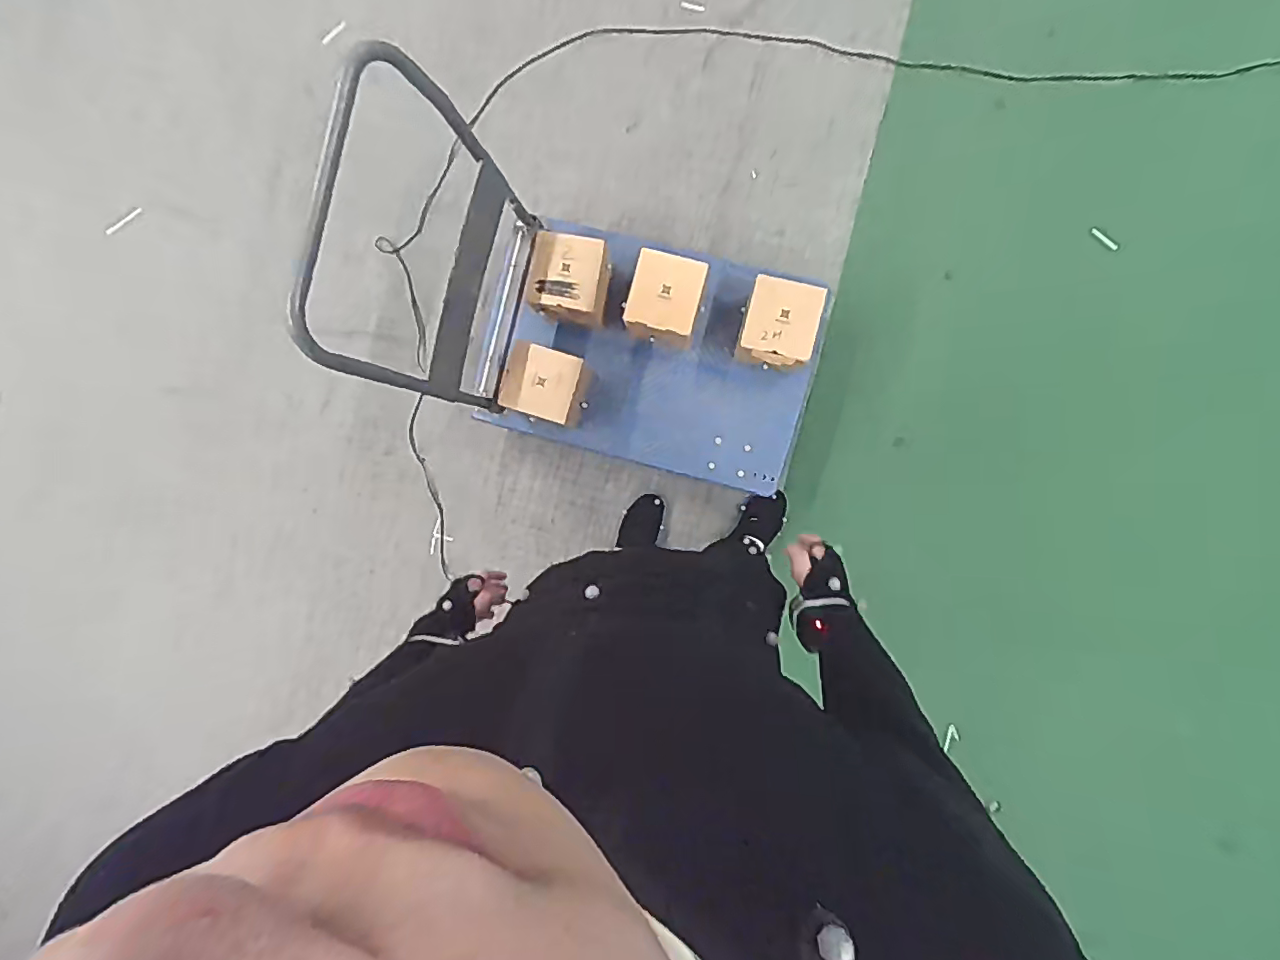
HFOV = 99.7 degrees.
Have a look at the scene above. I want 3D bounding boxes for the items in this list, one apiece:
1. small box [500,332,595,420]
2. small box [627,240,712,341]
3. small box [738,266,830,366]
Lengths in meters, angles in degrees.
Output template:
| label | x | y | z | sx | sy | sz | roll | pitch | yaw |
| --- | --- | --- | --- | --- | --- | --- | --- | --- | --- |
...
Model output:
| label | x | y | z | sx | sy | sz | roll | pitch | yaw |
| --- | --- | --- | --- | --- | --- | --- | --- | --- | --- |
| small box | -0.228 | -0.256 | 1.375 | 0.179 | 0.176 | 0.168 | 18 | 94 | 3 |
| small box | 0.072 | -0.463 | 1.347 | 0.168 | 0.176 | 0.179 | 16 | 95 | 3 |
| small box | 0.344 | -0.396 | 1.327 | 0.168 | 0.176 | 0.179 | 14 | 94 | 4 |
